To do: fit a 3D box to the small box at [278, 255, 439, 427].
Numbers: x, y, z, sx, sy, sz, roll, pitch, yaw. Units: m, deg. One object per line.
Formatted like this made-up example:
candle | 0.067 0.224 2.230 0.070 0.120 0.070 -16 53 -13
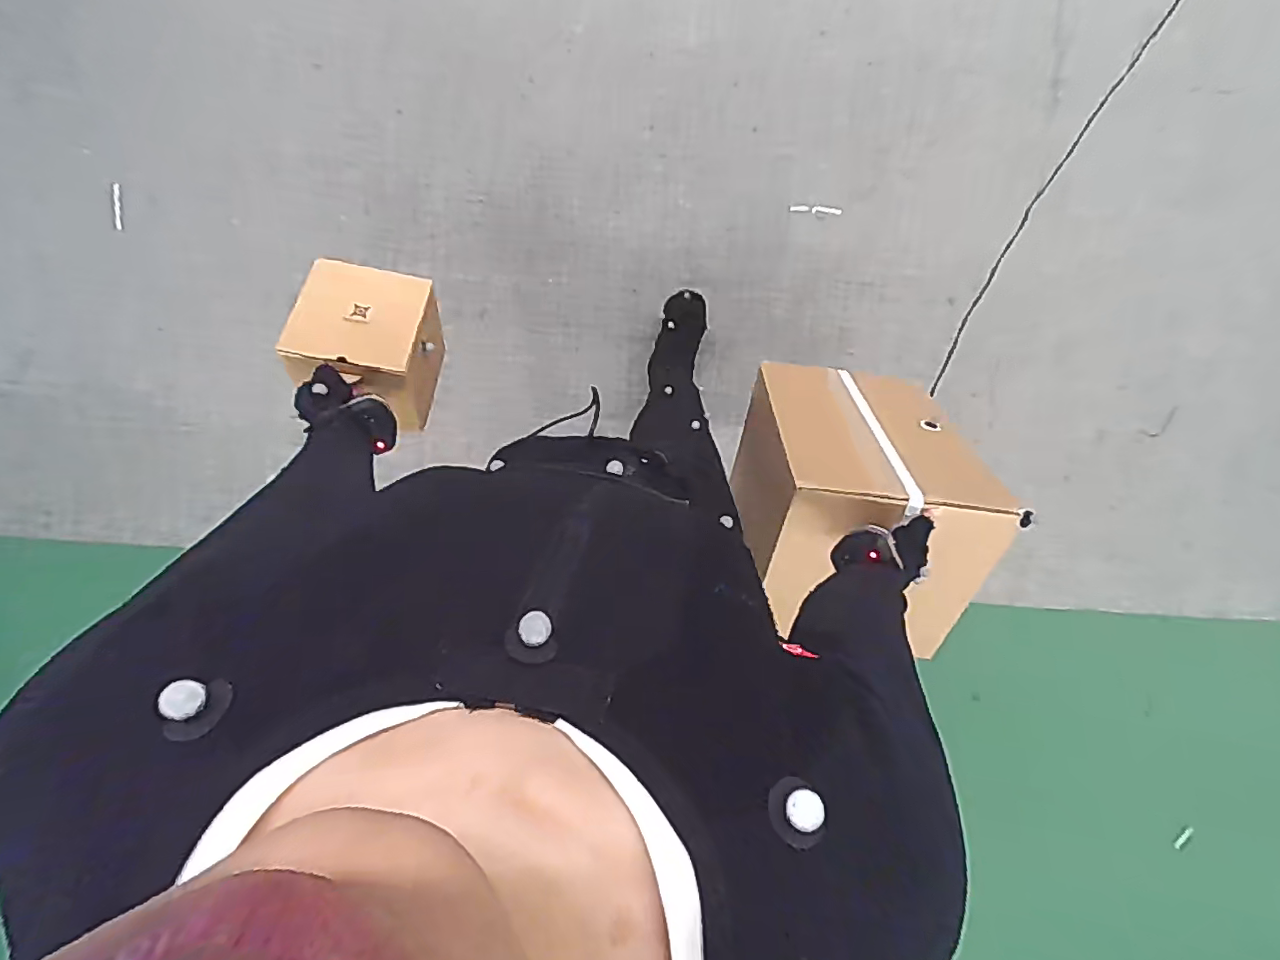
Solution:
small box | -0.417 -0.207 0.839 0.168 0.176 0.179 8 65 -10
